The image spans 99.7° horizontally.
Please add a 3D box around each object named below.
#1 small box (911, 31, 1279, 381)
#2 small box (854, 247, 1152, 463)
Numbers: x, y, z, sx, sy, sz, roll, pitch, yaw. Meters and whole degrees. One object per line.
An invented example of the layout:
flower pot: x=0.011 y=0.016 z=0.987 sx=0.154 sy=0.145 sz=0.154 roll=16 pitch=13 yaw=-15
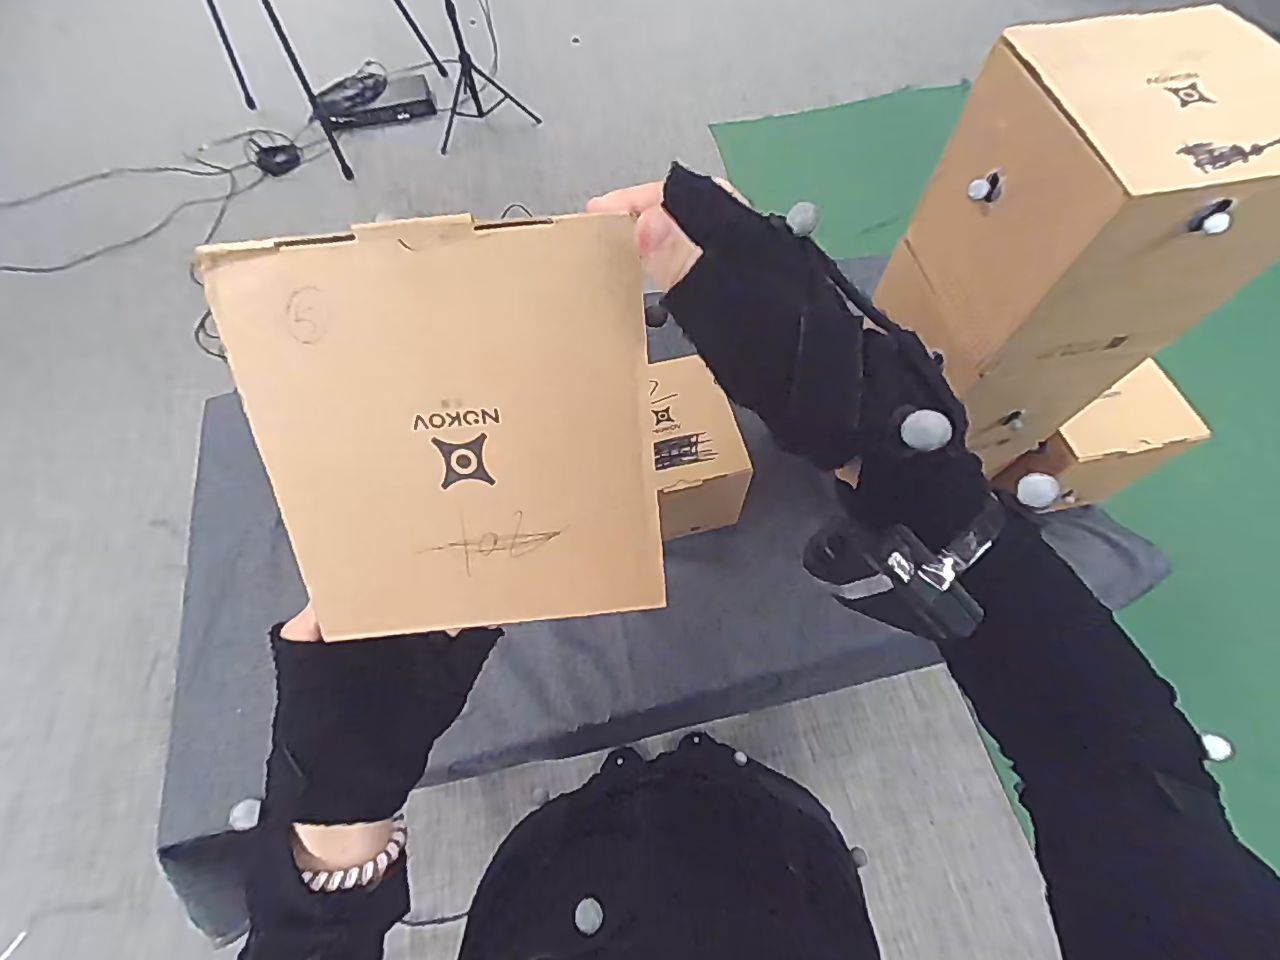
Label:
small box: x=0.346 y=-0.204 z=0.422 sx=0.168 sy=0.176 sz=0.179 roll=-9 pitch=62 yaw=-1
small box: x=0.353 y=-0.131 z=0.570 sx=0.168 sy=0.176 sz=0.179 roll=-10 pitch=63 yaw=-3
